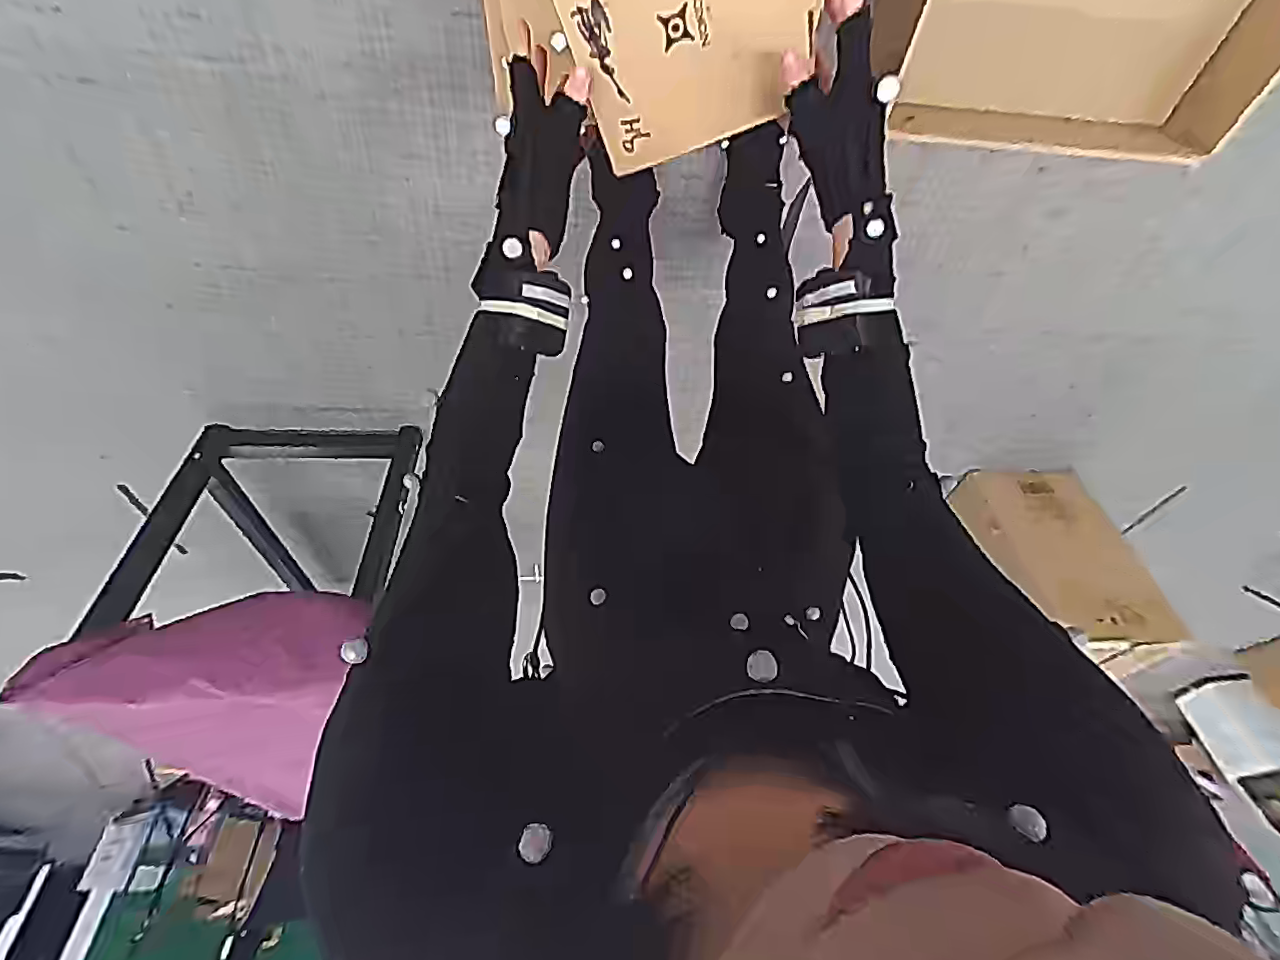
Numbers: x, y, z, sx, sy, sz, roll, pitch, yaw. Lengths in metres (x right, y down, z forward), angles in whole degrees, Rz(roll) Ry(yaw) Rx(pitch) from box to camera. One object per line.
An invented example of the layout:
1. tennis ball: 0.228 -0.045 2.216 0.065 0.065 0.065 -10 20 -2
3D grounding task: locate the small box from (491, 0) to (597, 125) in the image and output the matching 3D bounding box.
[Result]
1. small box: -0.061 -0.502 0.556 0.168 0.176 0.179 -8 139 1

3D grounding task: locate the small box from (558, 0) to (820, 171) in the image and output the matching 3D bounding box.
1. small box: 0.031 -0.394 0.435 0.179 0.176 0.168 -14 140 13
